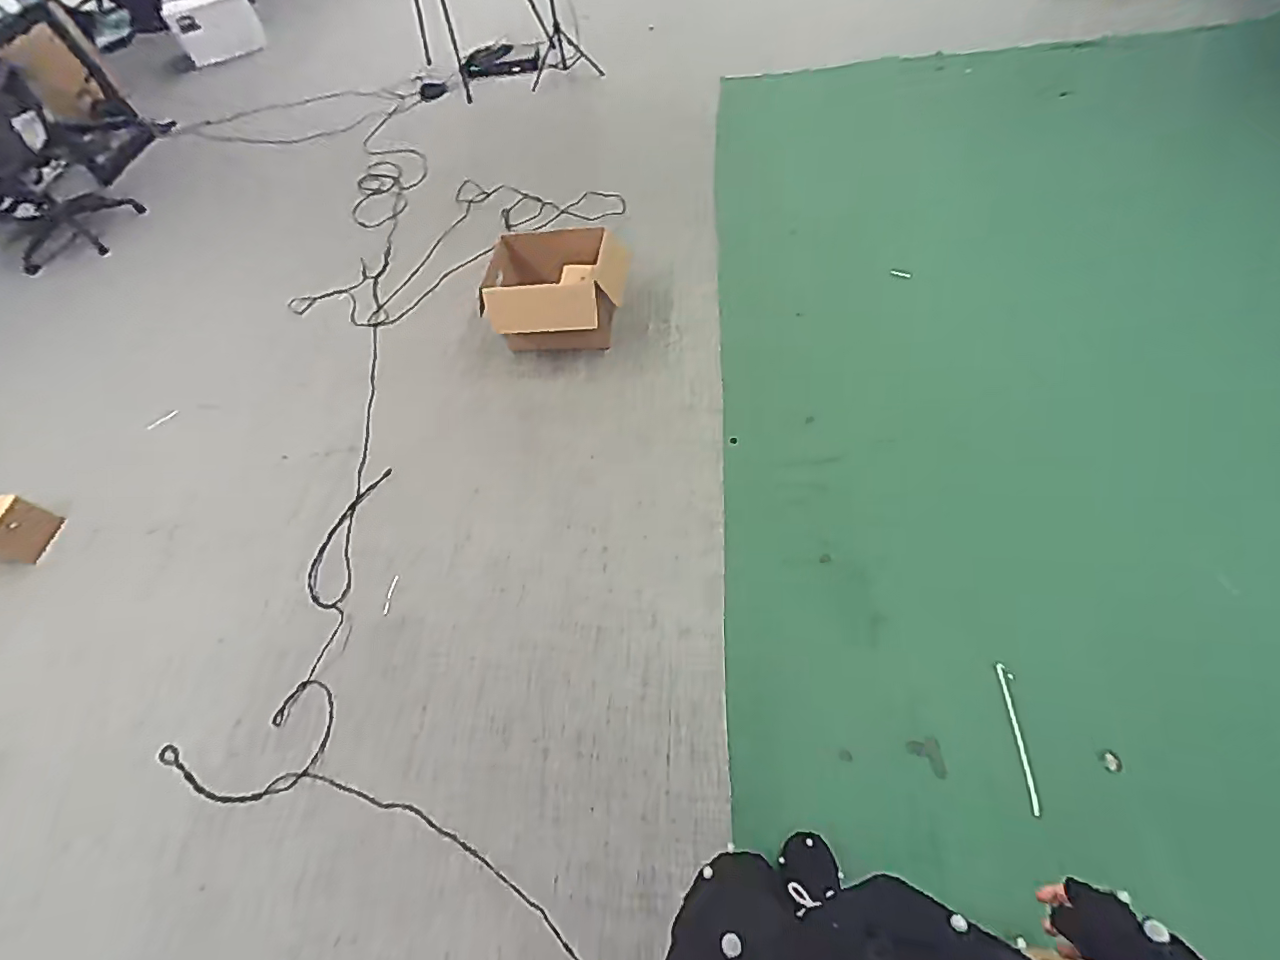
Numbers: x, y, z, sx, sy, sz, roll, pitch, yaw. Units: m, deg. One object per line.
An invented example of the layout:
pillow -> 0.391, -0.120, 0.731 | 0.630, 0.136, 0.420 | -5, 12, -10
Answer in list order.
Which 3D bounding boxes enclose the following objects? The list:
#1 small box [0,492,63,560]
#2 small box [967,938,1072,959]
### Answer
small box -> -2.144, 0.158, 1.835 | 0.168, 0.176, 0.179 | -2, 59, 7
small box -> 0.700, 0.931, 0.936 | 0.168, 0.176, 0.179 | 0, 58, 9
